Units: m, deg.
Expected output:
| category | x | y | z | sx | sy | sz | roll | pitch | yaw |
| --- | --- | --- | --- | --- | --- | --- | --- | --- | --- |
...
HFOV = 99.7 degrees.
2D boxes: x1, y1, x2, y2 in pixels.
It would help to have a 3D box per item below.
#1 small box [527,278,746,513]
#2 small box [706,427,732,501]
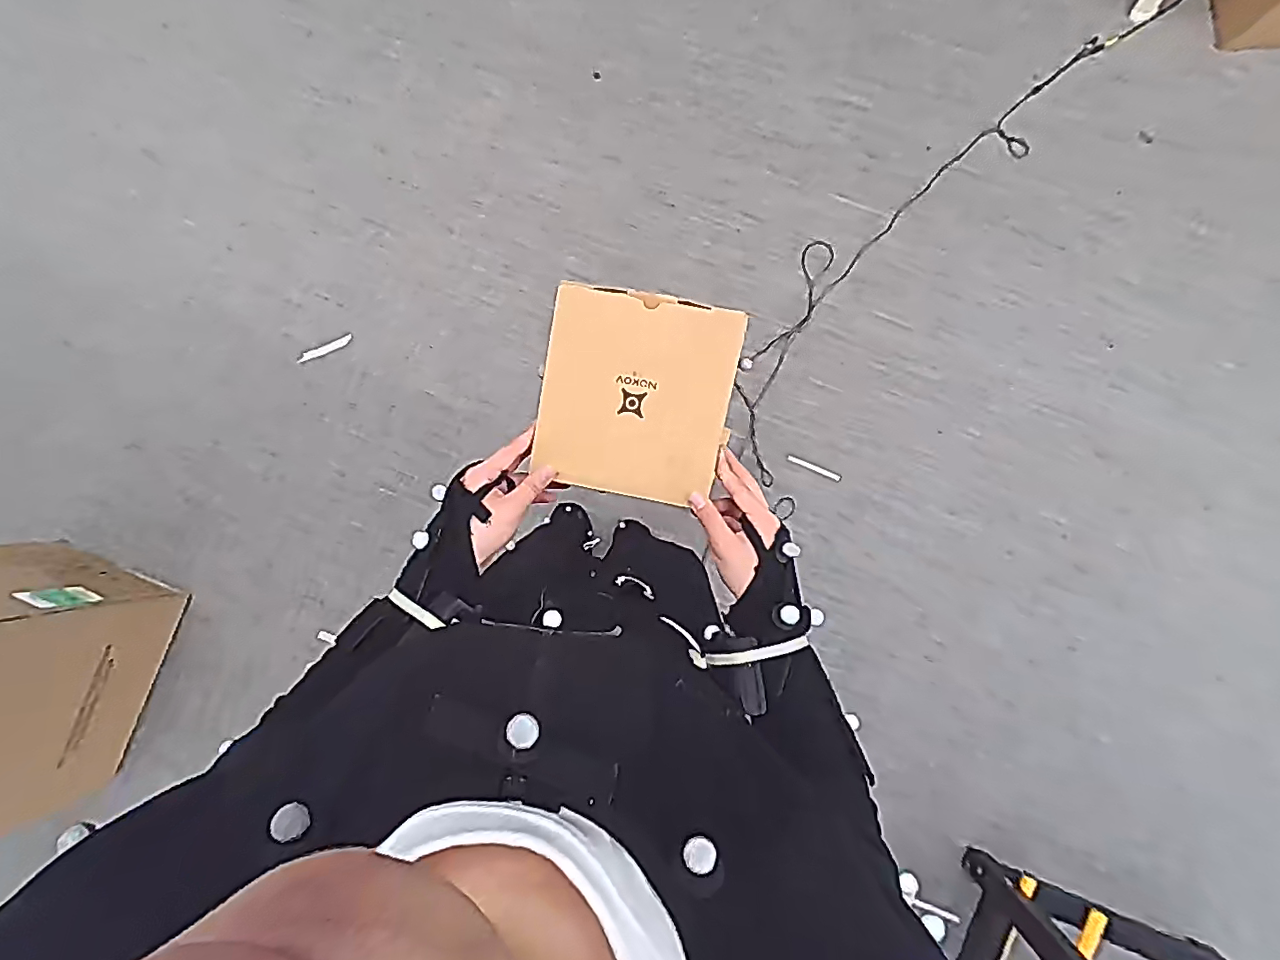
| category | x | y | z | sx | sy | sz | roll | pitch | yaw |
| --- | --- | --- | --- | --- | --- | --- | --- | --- | --- |
| small box | 0.002 | -0.081 | 0.539 | 0.168 | 0.176 | 0.179 | 11 | 98 | 4 |
| small box | 0.105 | -0.054 | 1.284 | 0.168 | 0.176 | 0.179 | 20 | 88 | 5 |
